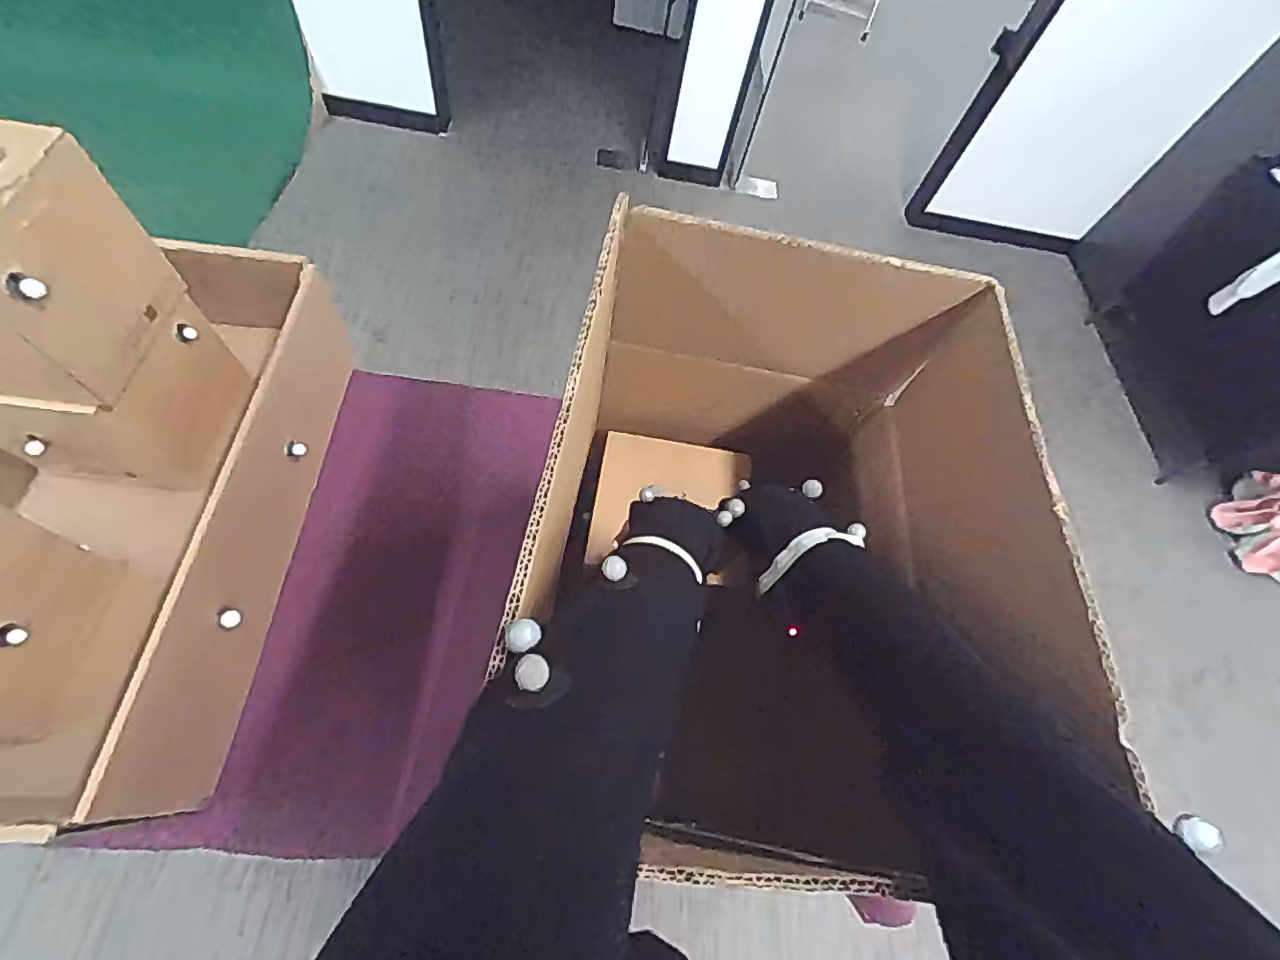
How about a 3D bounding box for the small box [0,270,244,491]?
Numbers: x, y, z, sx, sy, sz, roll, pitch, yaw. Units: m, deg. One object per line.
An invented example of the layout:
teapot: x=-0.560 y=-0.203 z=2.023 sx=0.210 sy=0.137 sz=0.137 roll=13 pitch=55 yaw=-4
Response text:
small box: x=-0.601 y=-0.103 z=0.616 sx=0.168 sy=0.176 sz=0.179 roll=7 pitch=61 yaw=-5
